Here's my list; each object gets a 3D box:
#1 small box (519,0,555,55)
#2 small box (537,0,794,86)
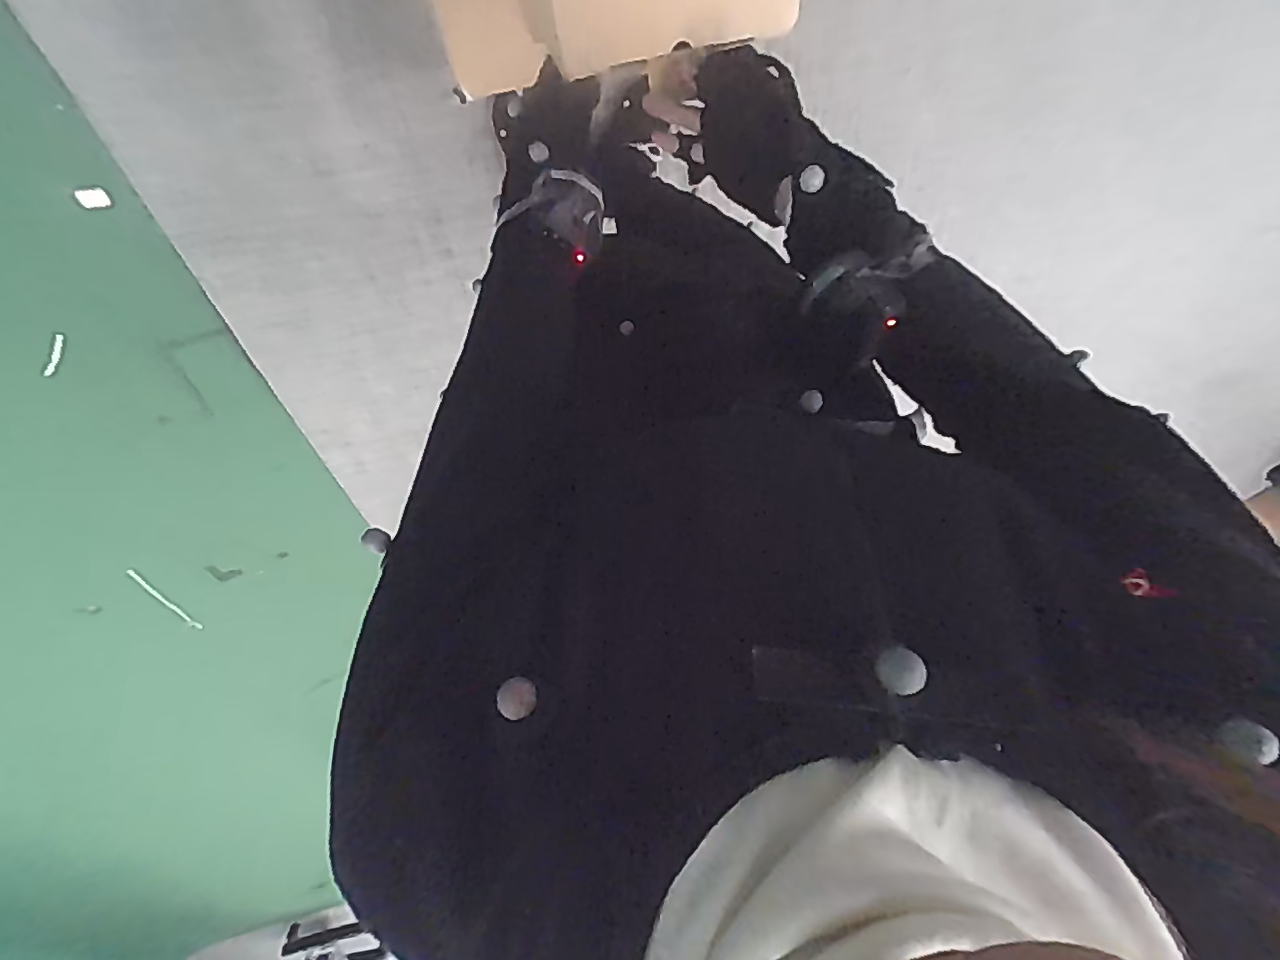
[{"bbox_3d":[-0.042,-0.516,0.479,0.168,0.176,0.179,-16,138,-3],"label":"small box"},{"bbox_3d":[0.002,-0.405,0.367,0.168,0.176,0.179,-14,138,-3],"label":"small box"}]
